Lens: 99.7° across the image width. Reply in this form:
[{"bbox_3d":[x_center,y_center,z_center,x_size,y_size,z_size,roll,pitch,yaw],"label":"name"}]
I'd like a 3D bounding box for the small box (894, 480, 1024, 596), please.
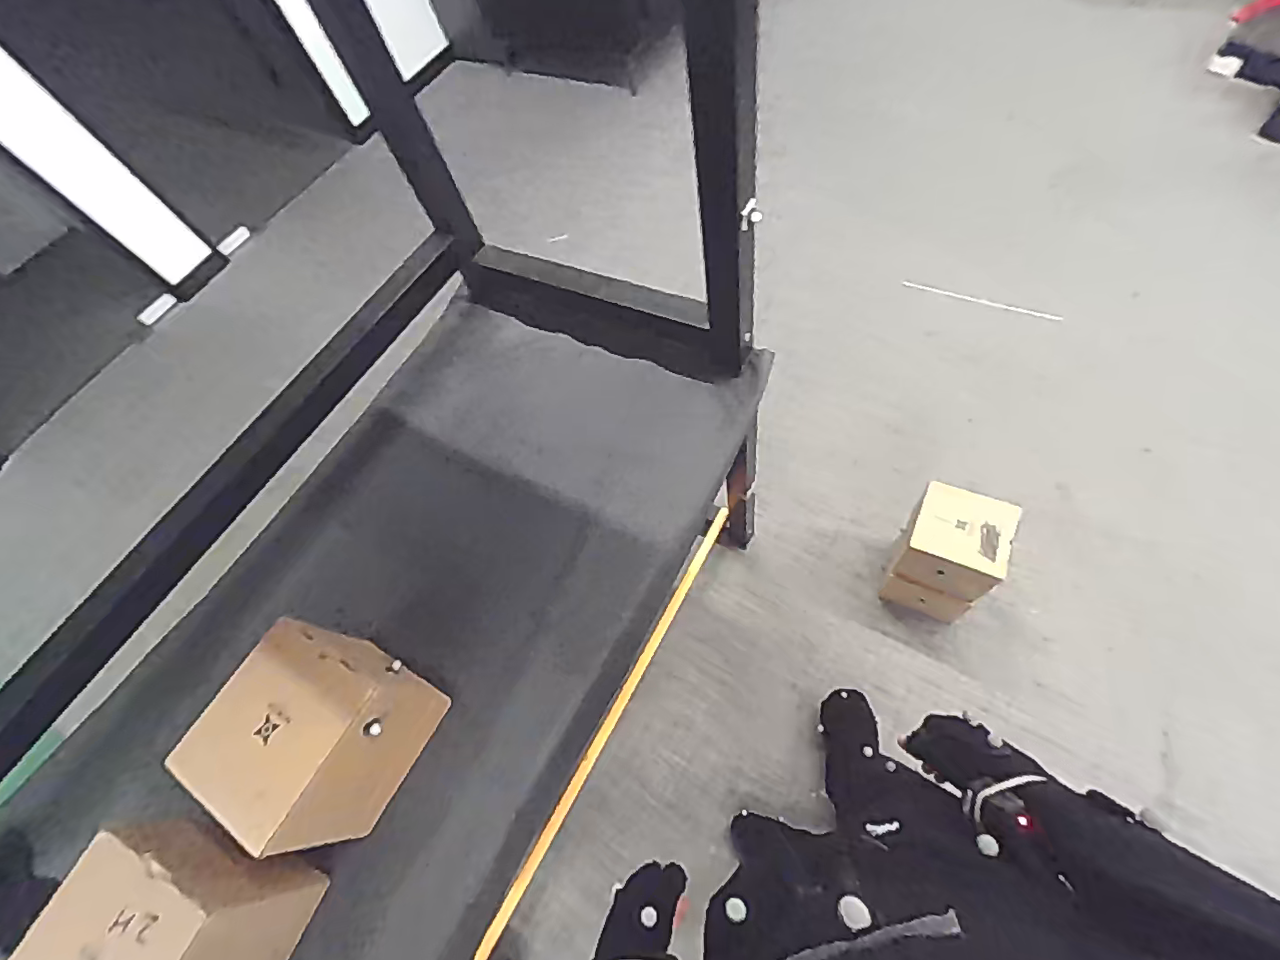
[{"bbox_3d":[0.666,0.130,1.147,0.179,0.176,0.168,21,69,22],"label":"small box"}]
